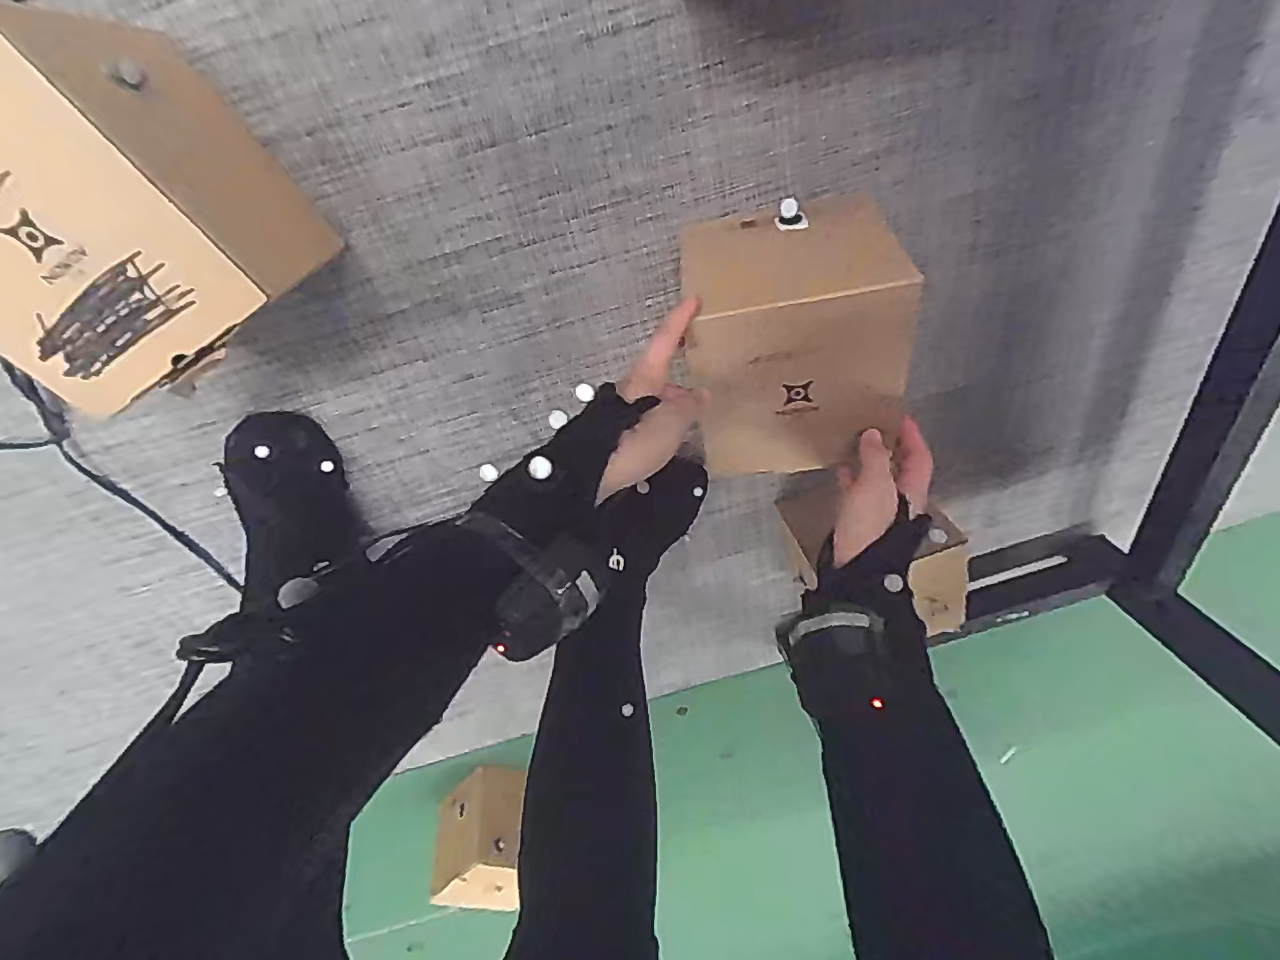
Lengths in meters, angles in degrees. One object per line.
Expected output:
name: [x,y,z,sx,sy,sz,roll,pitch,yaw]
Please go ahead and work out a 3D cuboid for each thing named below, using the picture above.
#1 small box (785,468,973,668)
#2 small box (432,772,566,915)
small box: [0.308,0.113,0.725,0.179,0.176,0.168,-21,126,4]
small box: [-0.258,0.678,1.013,0.179,0.176,0.168,32,114,-27]
